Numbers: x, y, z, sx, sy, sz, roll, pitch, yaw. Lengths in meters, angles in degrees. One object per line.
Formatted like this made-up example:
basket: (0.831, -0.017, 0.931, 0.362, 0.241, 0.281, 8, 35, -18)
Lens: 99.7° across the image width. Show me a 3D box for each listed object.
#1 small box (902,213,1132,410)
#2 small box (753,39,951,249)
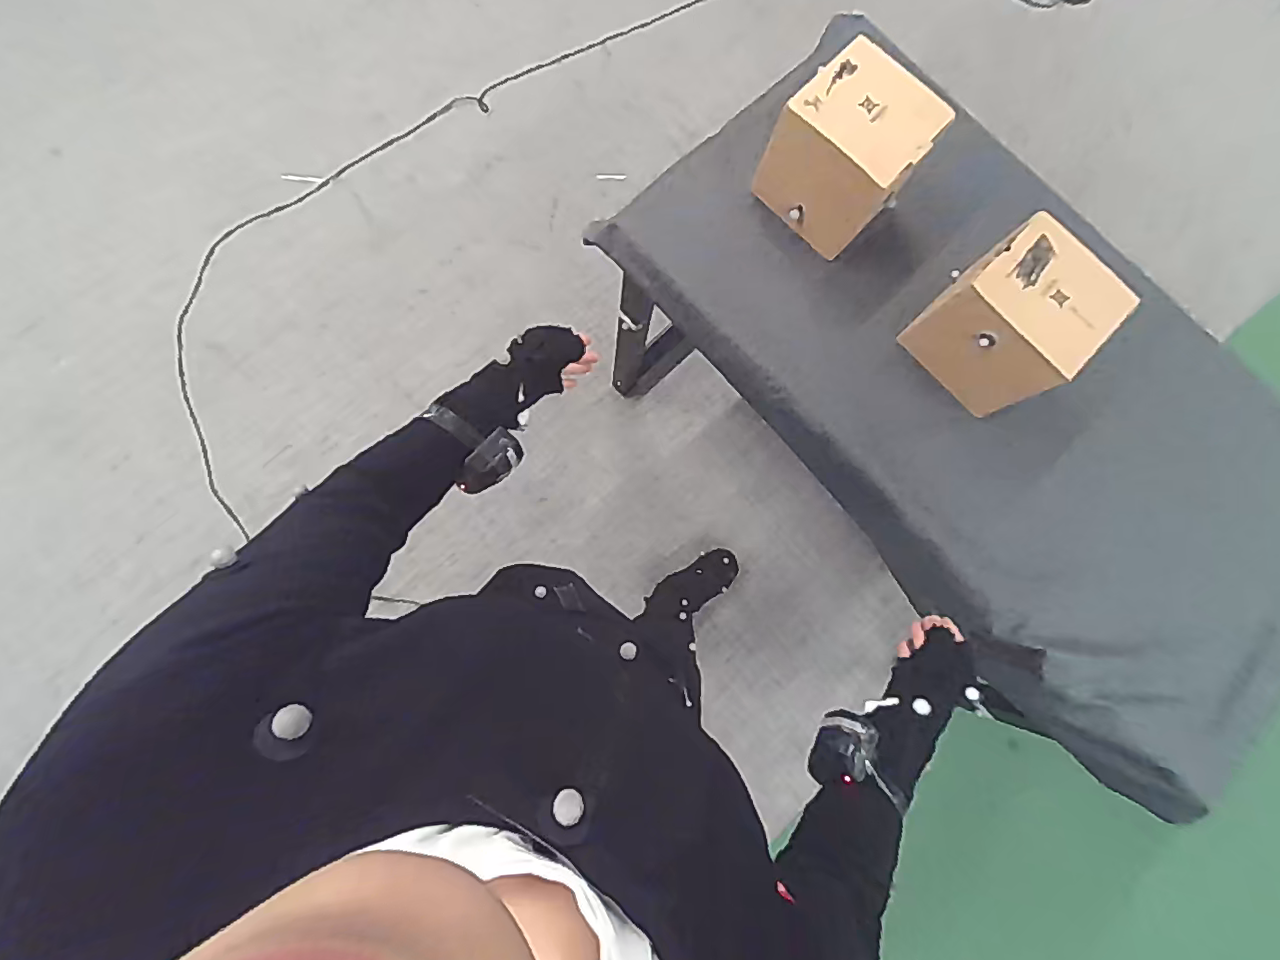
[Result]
small box: (0.523, -0.229, 0.778, 0.168, 0.176, 0.179, -43, 87, -11)
small box: (0.300, -0.477, 0.801, 0.179, 0.176, 0.168, 43, 79, 2)
